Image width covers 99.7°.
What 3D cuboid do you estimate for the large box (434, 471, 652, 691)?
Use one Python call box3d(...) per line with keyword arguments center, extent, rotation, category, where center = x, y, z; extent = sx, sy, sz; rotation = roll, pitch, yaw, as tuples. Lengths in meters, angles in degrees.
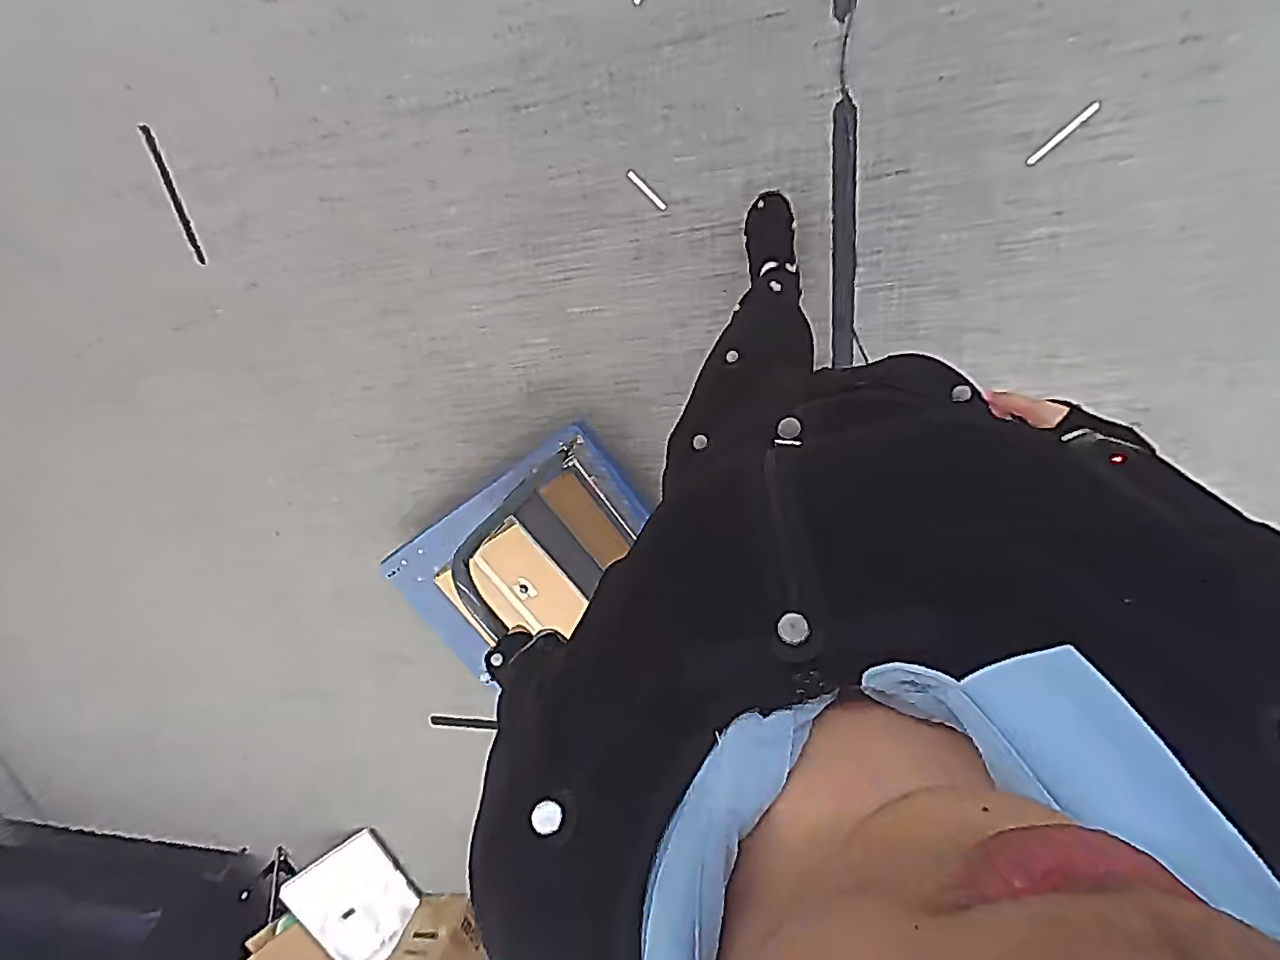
box3d(center=(-0.228, 0.255, 1.405), extent=(0.320, 0.320, 0.408), rotation=(-32, 102, 23), category="large box")
